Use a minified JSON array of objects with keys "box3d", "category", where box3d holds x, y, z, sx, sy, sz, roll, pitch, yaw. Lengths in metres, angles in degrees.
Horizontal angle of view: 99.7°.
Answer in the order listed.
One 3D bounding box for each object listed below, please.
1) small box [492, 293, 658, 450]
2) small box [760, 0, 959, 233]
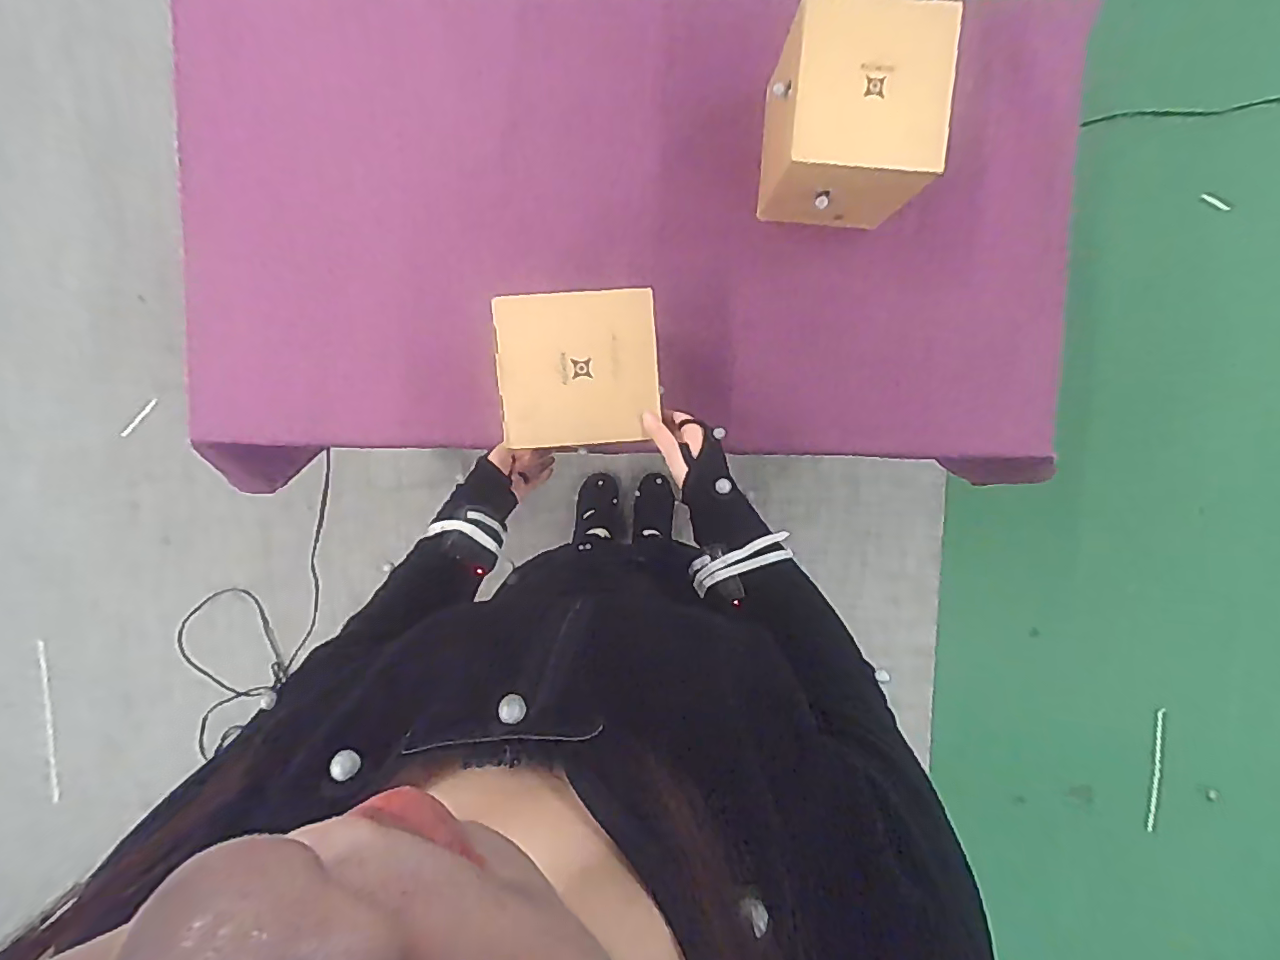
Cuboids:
[{"box3d":[-0.072,-0.122,0.667,0.179,0.176,0.168,-4,94,-3],"category":"small box"},{"box3d":[0.246,-0.417,0.650,0.168,0.176,0.179,5,93,0],"category":"small box"}]
